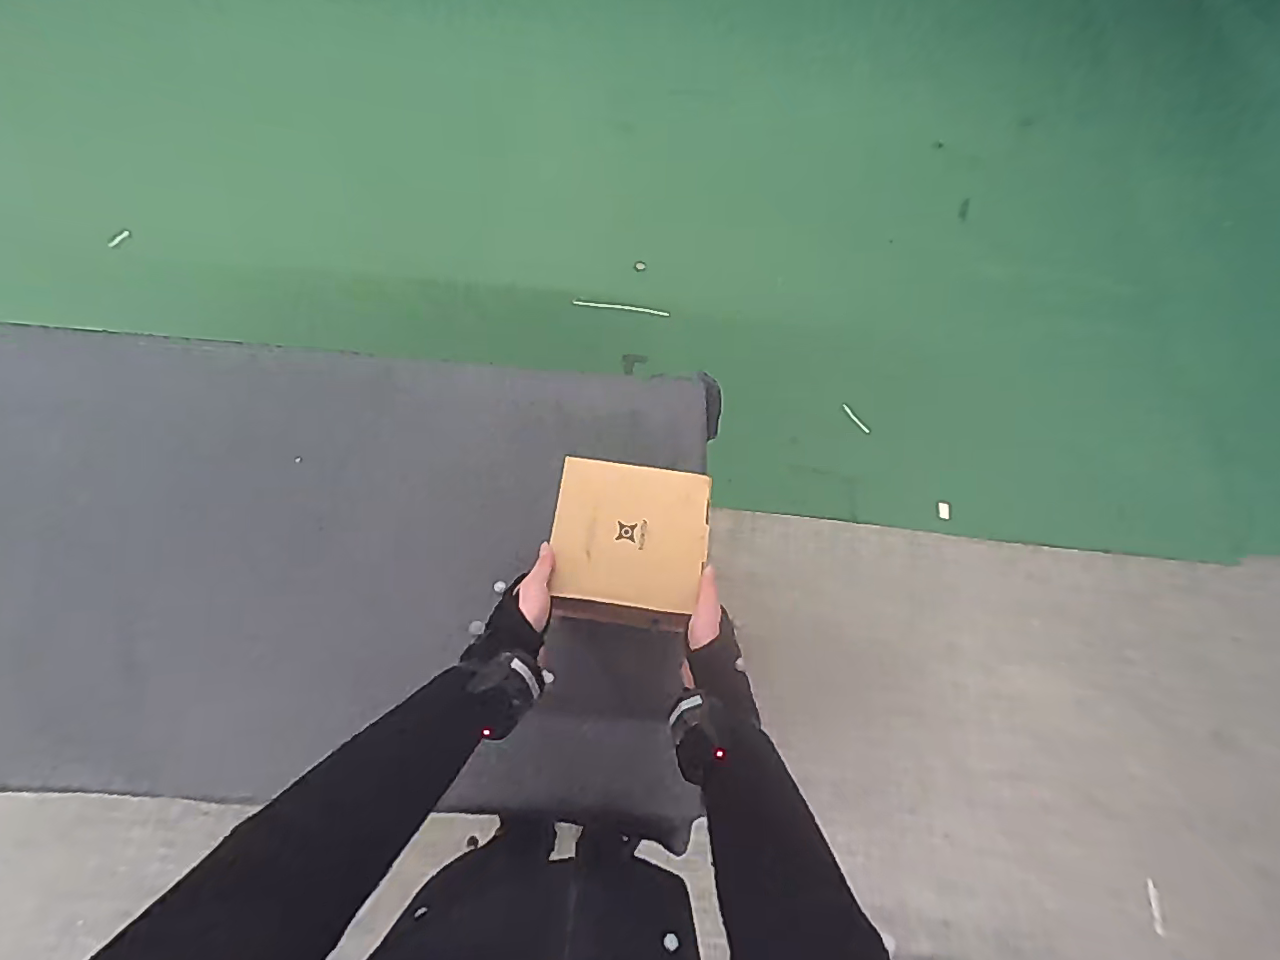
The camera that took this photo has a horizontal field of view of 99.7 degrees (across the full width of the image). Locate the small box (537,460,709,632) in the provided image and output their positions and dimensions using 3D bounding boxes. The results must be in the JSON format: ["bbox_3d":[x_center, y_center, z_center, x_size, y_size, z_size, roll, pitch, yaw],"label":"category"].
[{"bbox_3d":[-0.017,0.091,0.676,0.179,0.176,0.168,6,68,1],"label":"small box"}]
